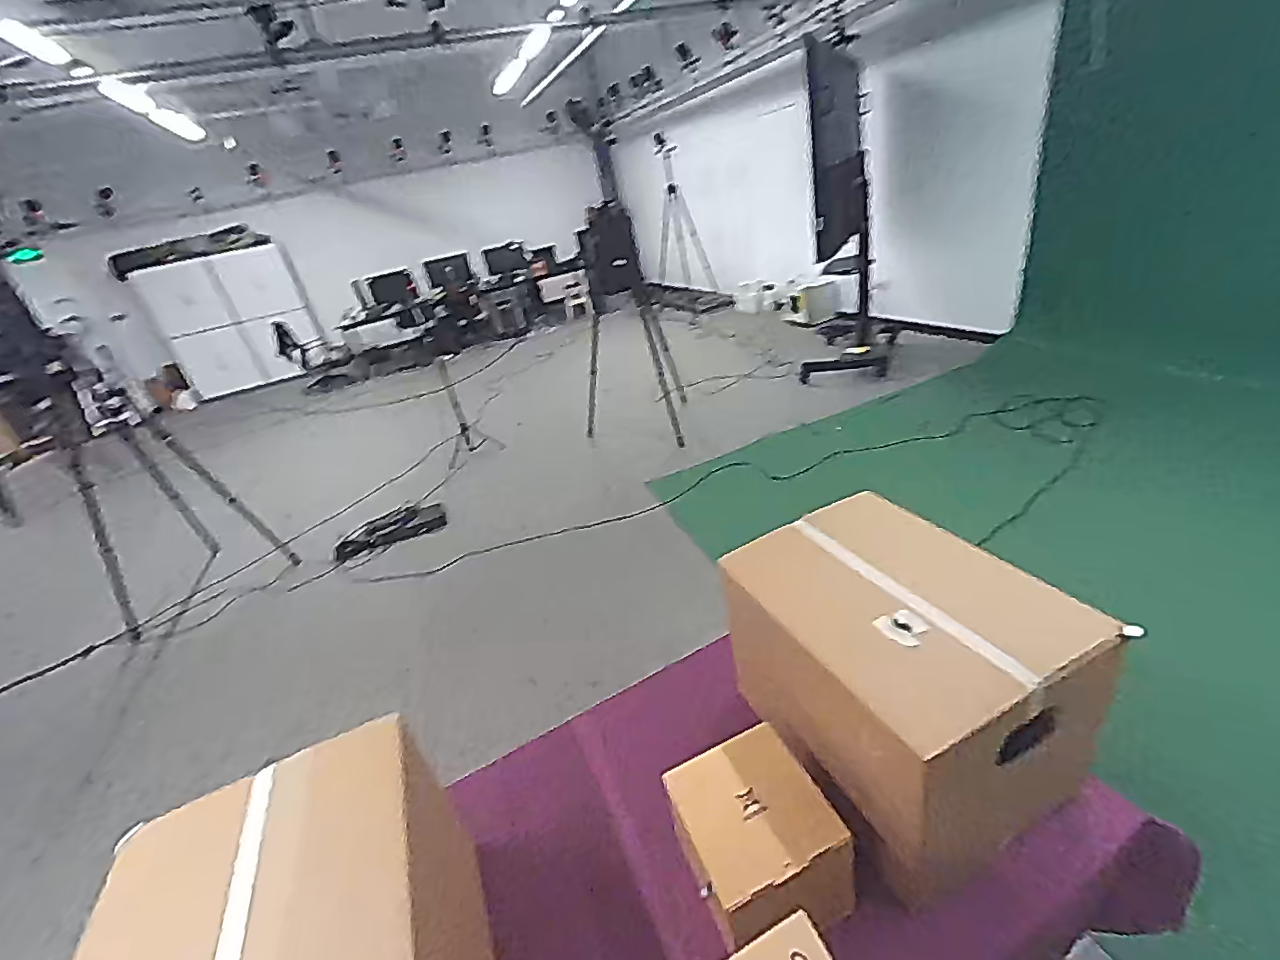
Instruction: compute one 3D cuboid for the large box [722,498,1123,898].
[{"bbox_3d":[0.369,0.282,0.818,0.320,0.320,0.408,-21,30,-16],"label":"large box"}]
